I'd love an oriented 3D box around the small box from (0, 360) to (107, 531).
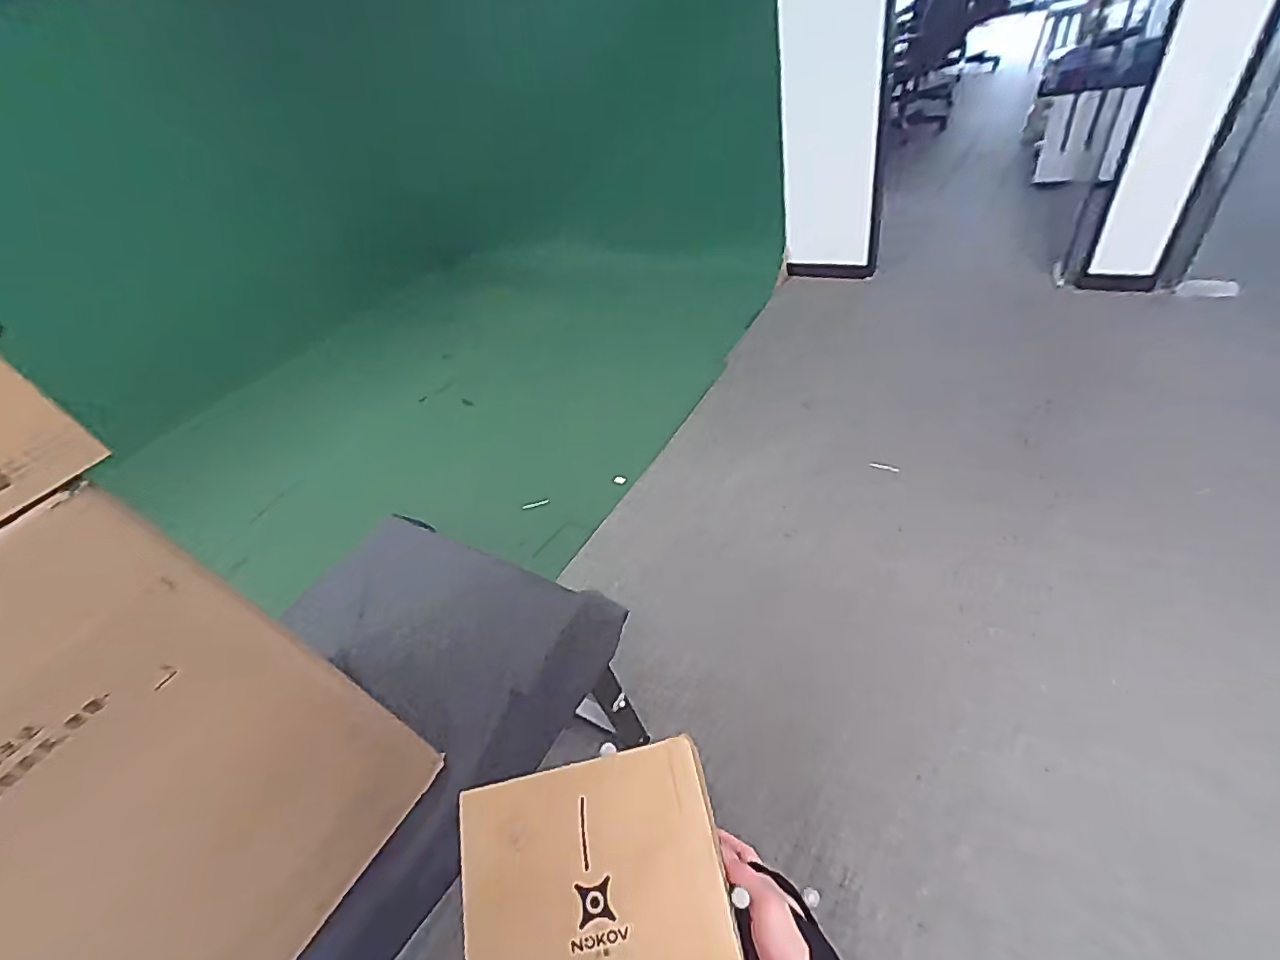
[{"bbox_3d":[-0.551,-0.040,0.382,0.179,0.176,0.168,17,52,30],"label":"small box"}]
